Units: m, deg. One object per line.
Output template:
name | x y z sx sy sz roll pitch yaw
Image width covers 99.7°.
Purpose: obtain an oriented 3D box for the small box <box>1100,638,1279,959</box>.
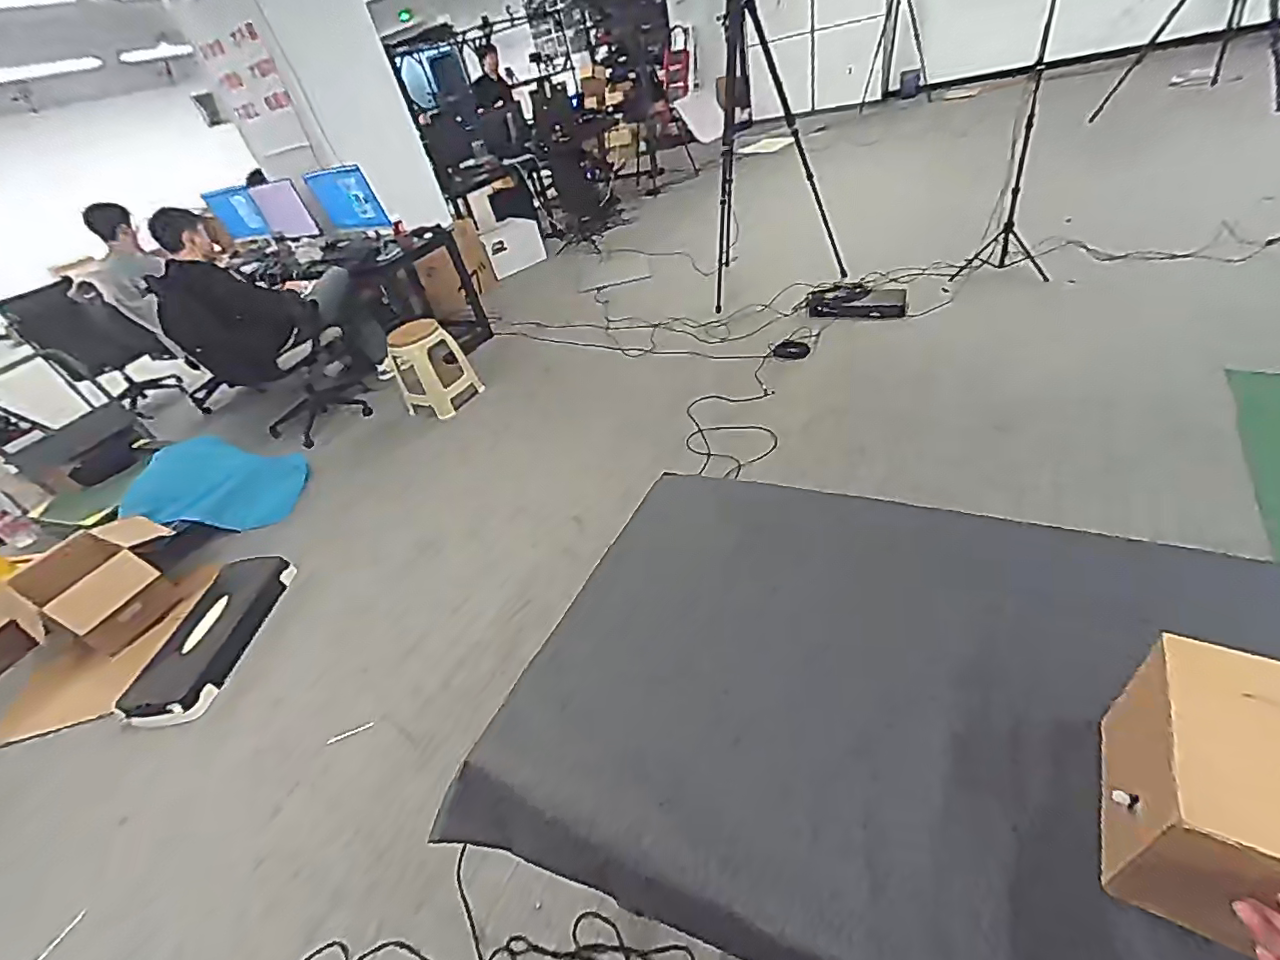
small box | 0.506 0.270 0.440 0.168 0.176 0.179 13 45 30
